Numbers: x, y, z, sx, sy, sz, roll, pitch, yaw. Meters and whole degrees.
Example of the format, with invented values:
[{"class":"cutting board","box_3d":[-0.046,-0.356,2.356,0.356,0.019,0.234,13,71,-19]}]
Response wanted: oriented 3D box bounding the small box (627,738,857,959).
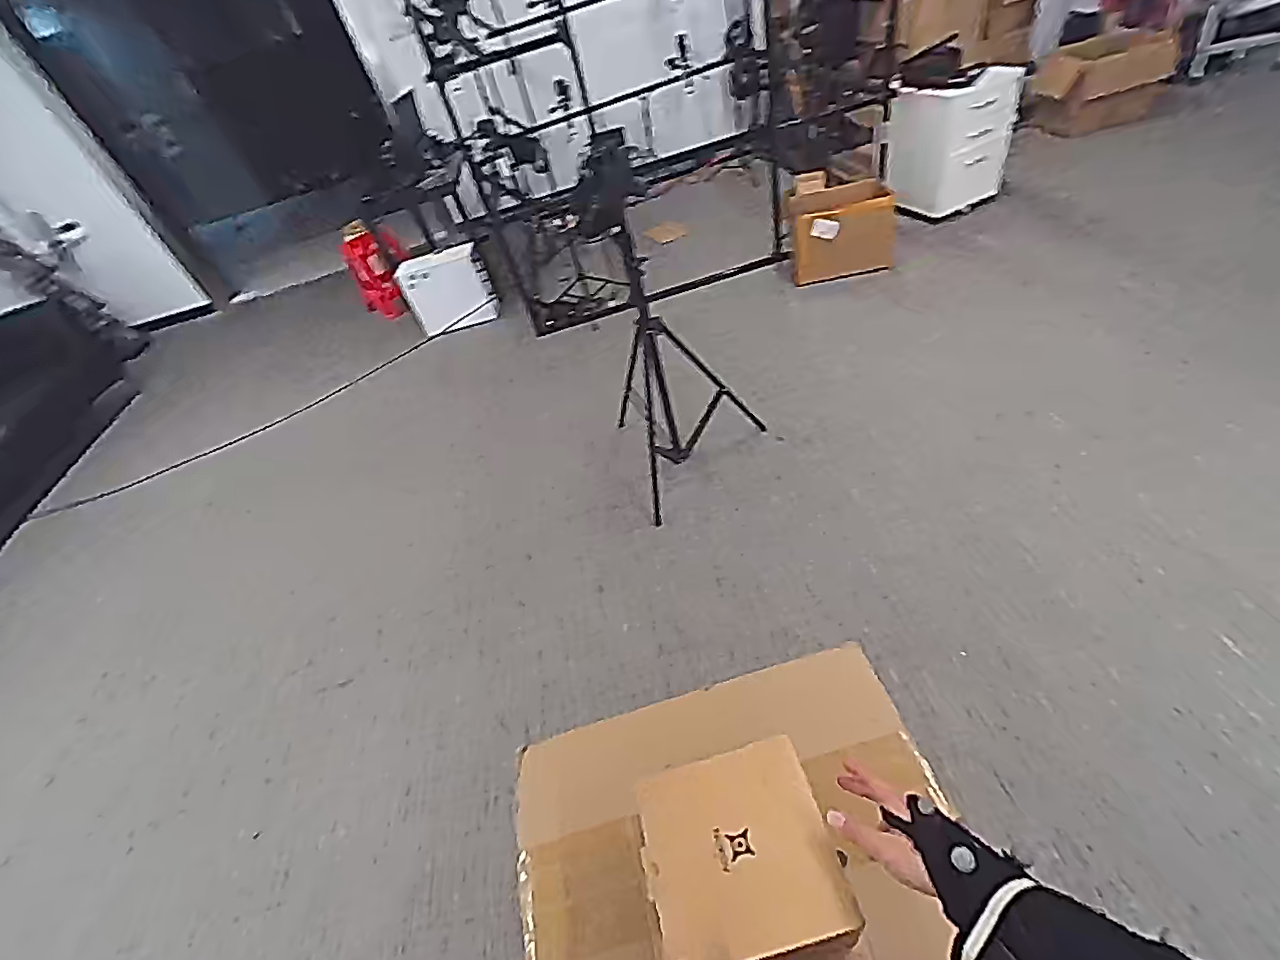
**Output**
[{"class":"small box","box_3d":[0.101,0.403,0.564,0.179,0.176,0.168,-18,43,0]}]
